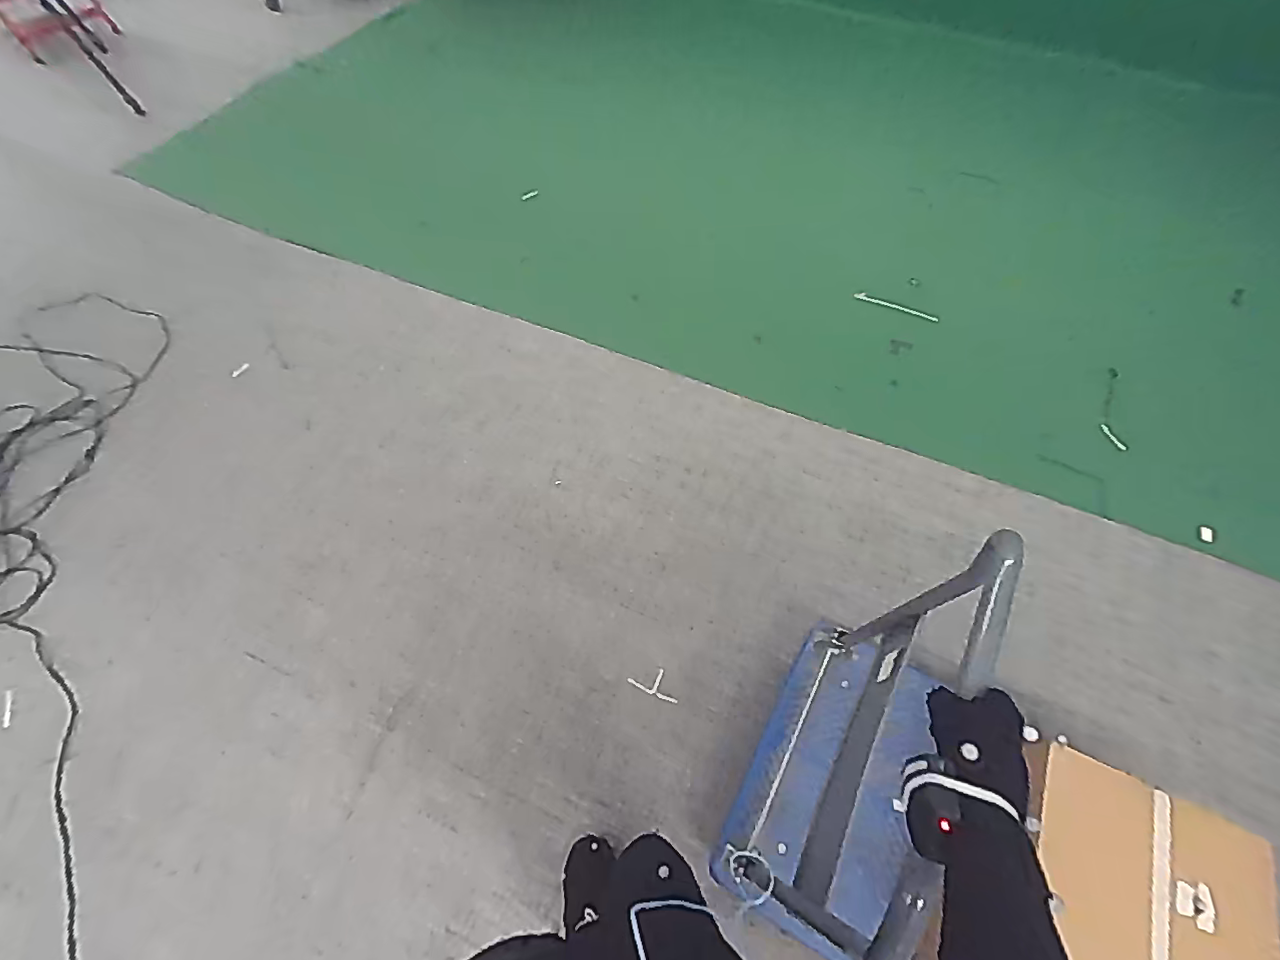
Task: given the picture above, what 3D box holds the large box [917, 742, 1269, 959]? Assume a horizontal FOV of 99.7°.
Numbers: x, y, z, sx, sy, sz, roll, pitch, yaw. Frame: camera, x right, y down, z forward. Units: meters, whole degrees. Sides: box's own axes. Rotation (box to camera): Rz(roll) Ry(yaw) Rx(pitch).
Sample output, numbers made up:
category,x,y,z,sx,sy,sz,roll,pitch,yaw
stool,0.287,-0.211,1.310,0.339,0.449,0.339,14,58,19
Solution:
category,x,y,z,sx,sy,sz,roll,pitch,yaw
large box,0.697,0.711,0.872,0.320,0.320,0.408,25,61,13
